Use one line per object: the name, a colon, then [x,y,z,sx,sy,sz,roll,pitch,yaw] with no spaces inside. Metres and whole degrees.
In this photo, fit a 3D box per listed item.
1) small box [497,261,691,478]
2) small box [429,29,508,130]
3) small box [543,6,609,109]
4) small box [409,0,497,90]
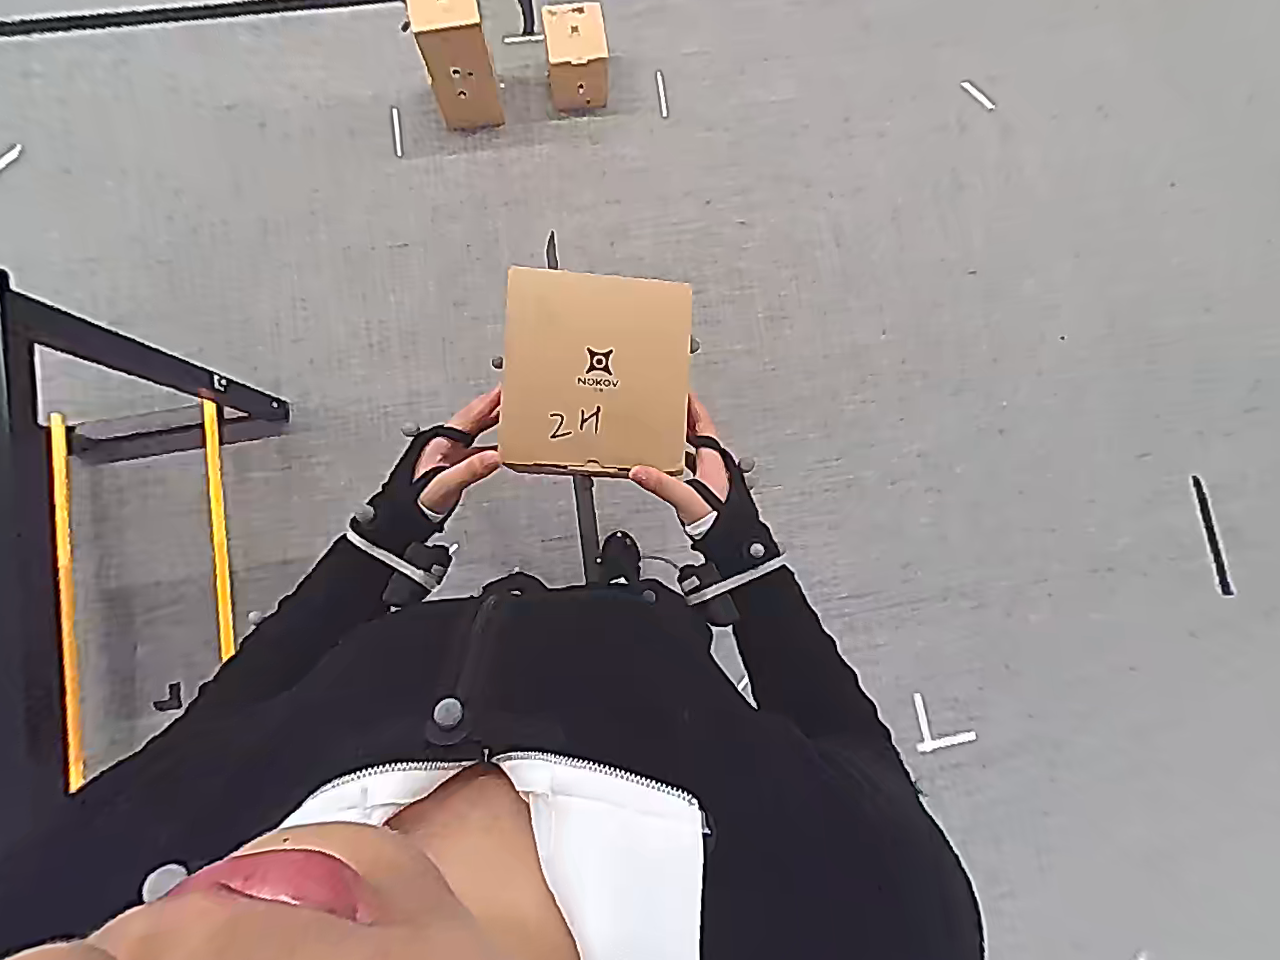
small box: [-0.048,-0.097,0.556,0.168,0.176,0.179,3,87,-6]
small box: [-0.490,-1.134,1.541,0.179,0.176,0.168,-10,85,-5]
small box: [-0.180,-1.213,1.570,0.168,0.176,0.179,-8,85,-4]
small box: [-0.476,-1.148,1.380,0.168,0.176,0.179,-12,86,-3]
